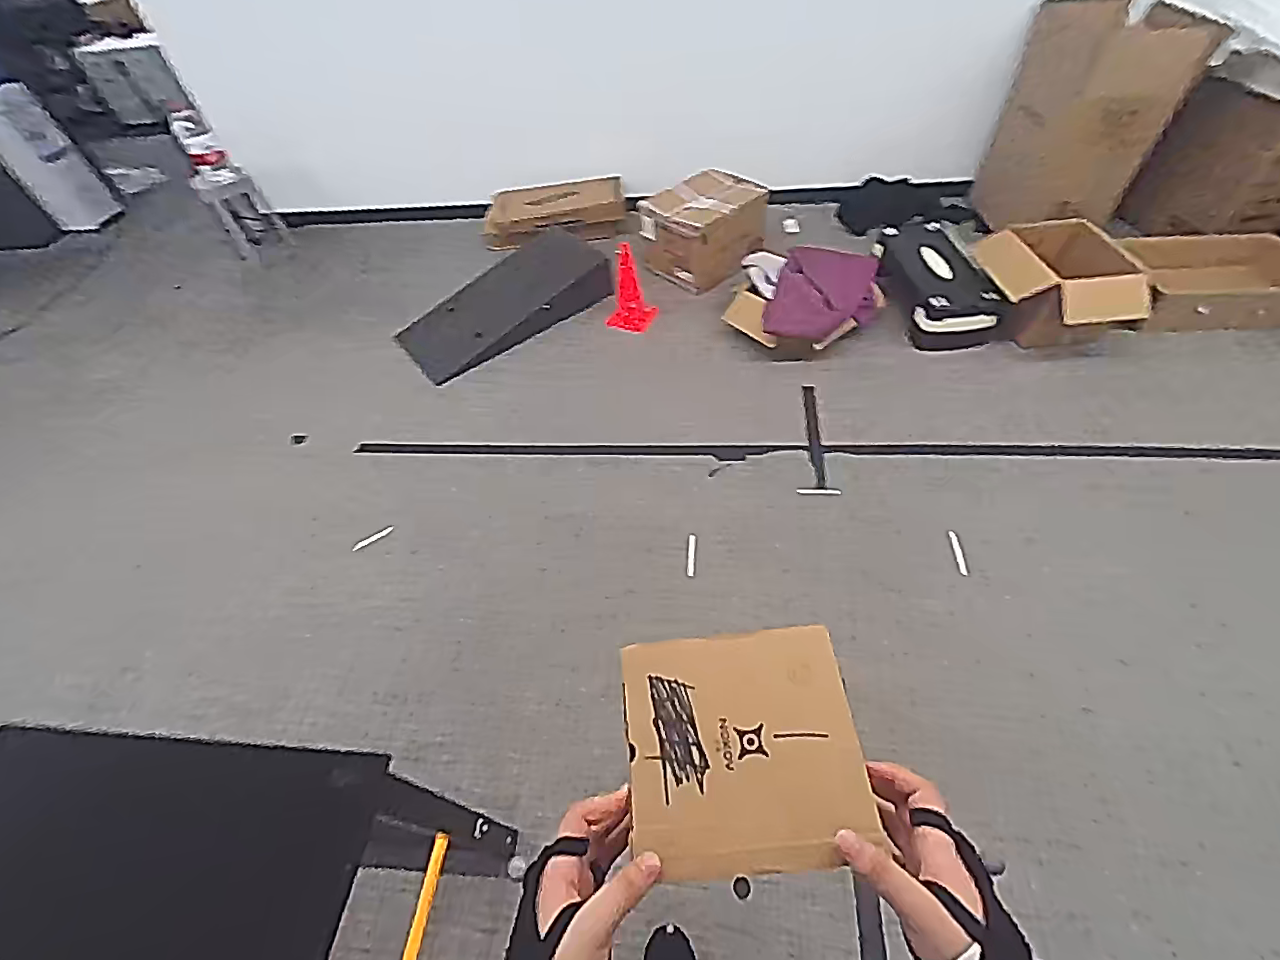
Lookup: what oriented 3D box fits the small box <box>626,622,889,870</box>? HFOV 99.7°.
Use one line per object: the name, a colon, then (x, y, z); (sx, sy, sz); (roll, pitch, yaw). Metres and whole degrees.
small box: (0.088, 0.240, 0.477); (0.179, 0.176, 0.168); (-7, 56, 3)
